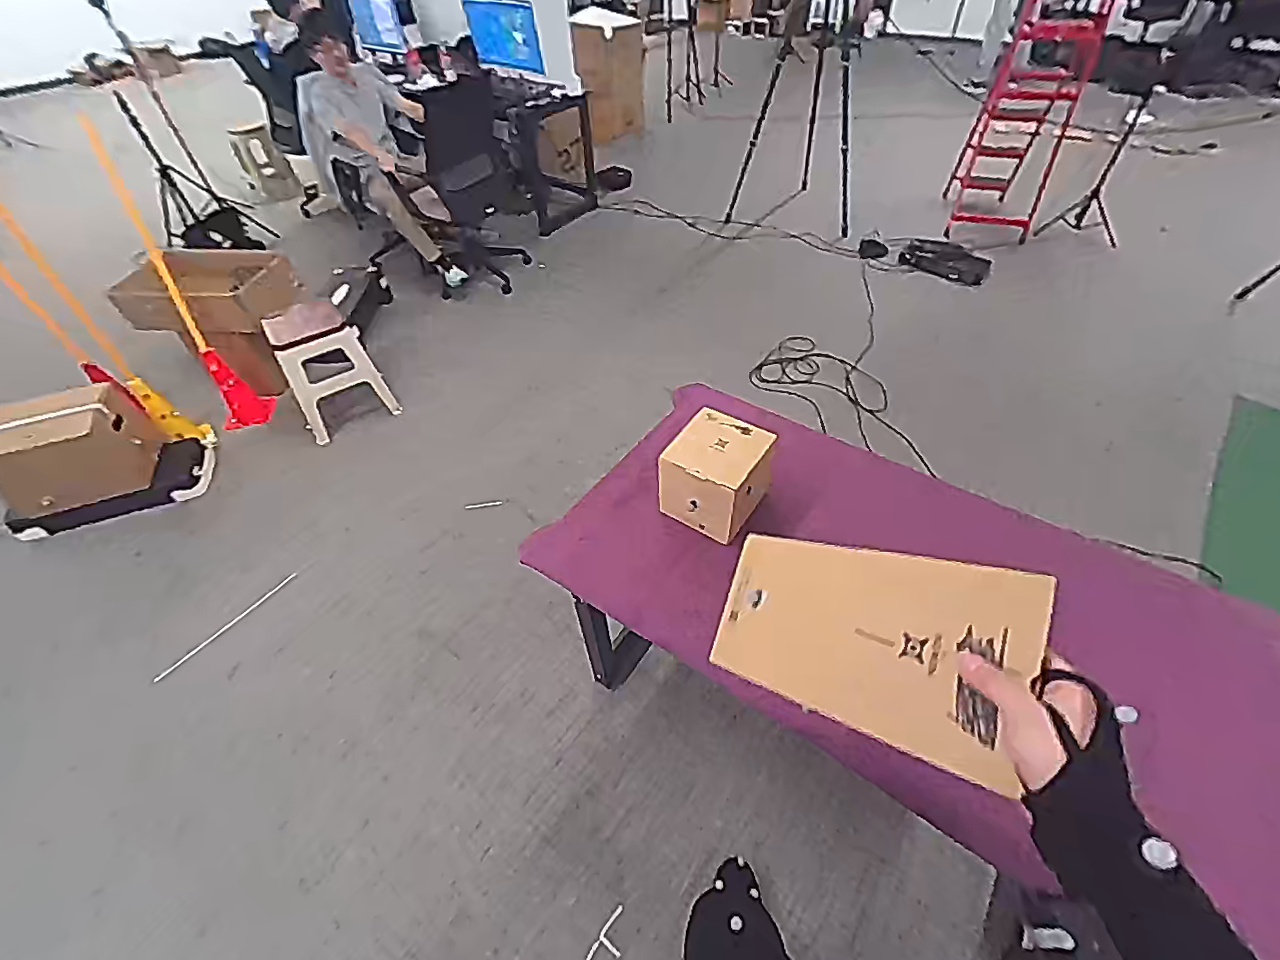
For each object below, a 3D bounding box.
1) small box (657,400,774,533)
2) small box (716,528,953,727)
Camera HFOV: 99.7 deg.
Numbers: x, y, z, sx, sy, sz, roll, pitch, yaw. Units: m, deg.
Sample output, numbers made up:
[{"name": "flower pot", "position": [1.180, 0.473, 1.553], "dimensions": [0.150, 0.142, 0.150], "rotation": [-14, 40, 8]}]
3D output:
[{"name": "small box", "position": [0.151, -0.024, 1.089], "dimensions": [0.168, 0.176, 0.179], "rotation": [27, 56, 23]}, {"name": "small box", "position": [0.225, 0.163, 0.640], "dimensions": [0.176, 0.179, 0.168], "rotation": [1, 67, 61]}]
